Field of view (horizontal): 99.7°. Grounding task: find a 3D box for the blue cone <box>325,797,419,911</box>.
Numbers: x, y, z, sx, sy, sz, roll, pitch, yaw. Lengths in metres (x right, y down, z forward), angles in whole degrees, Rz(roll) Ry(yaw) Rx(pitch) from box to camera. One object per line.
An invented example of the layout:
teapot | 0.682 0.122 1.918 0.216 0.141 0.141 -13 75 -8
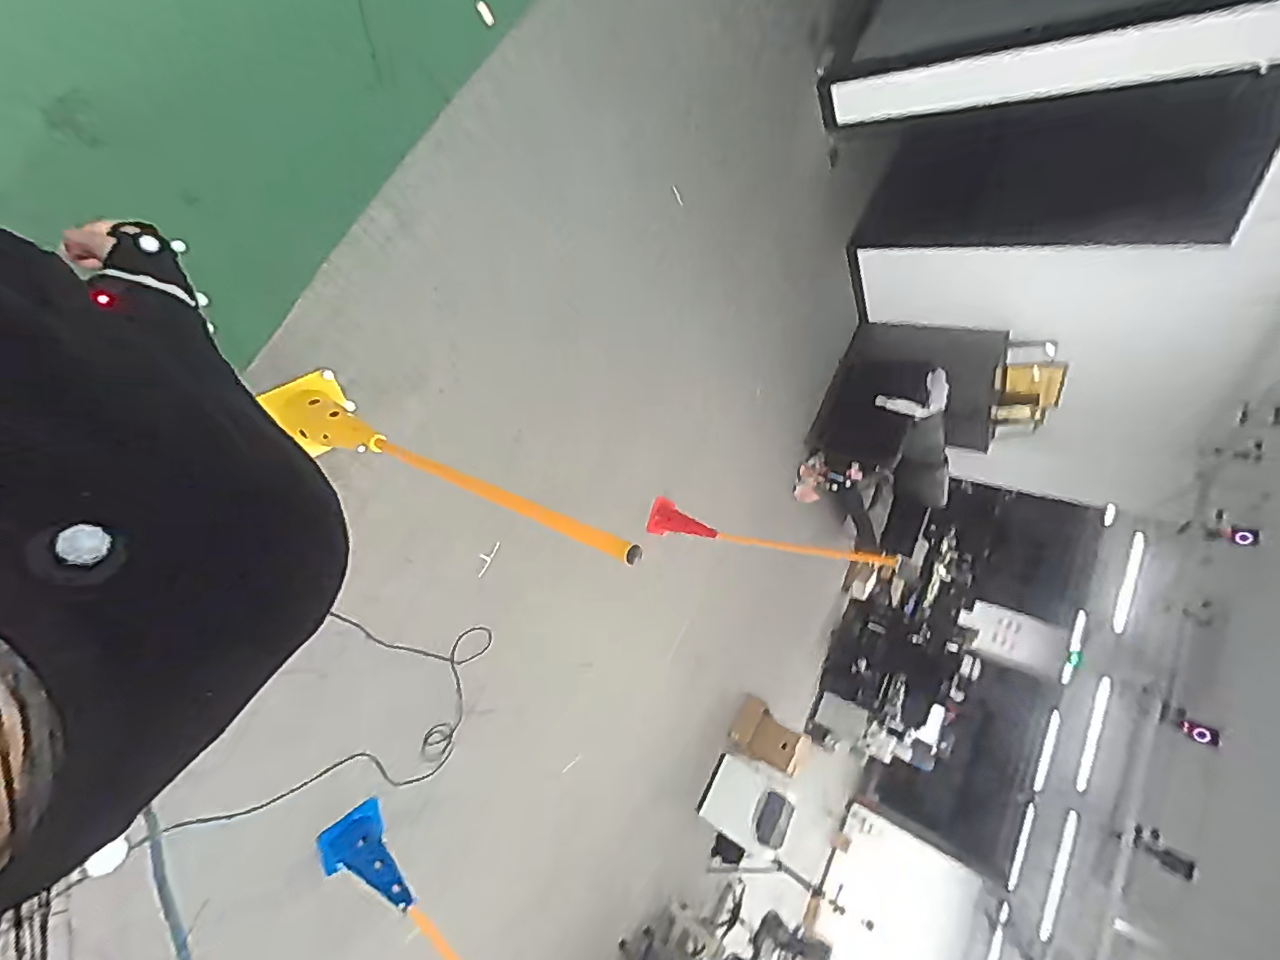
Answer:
blue cone | -0.829 1.237 1.749 0.192 0.380 0.193 -28 128 -47
